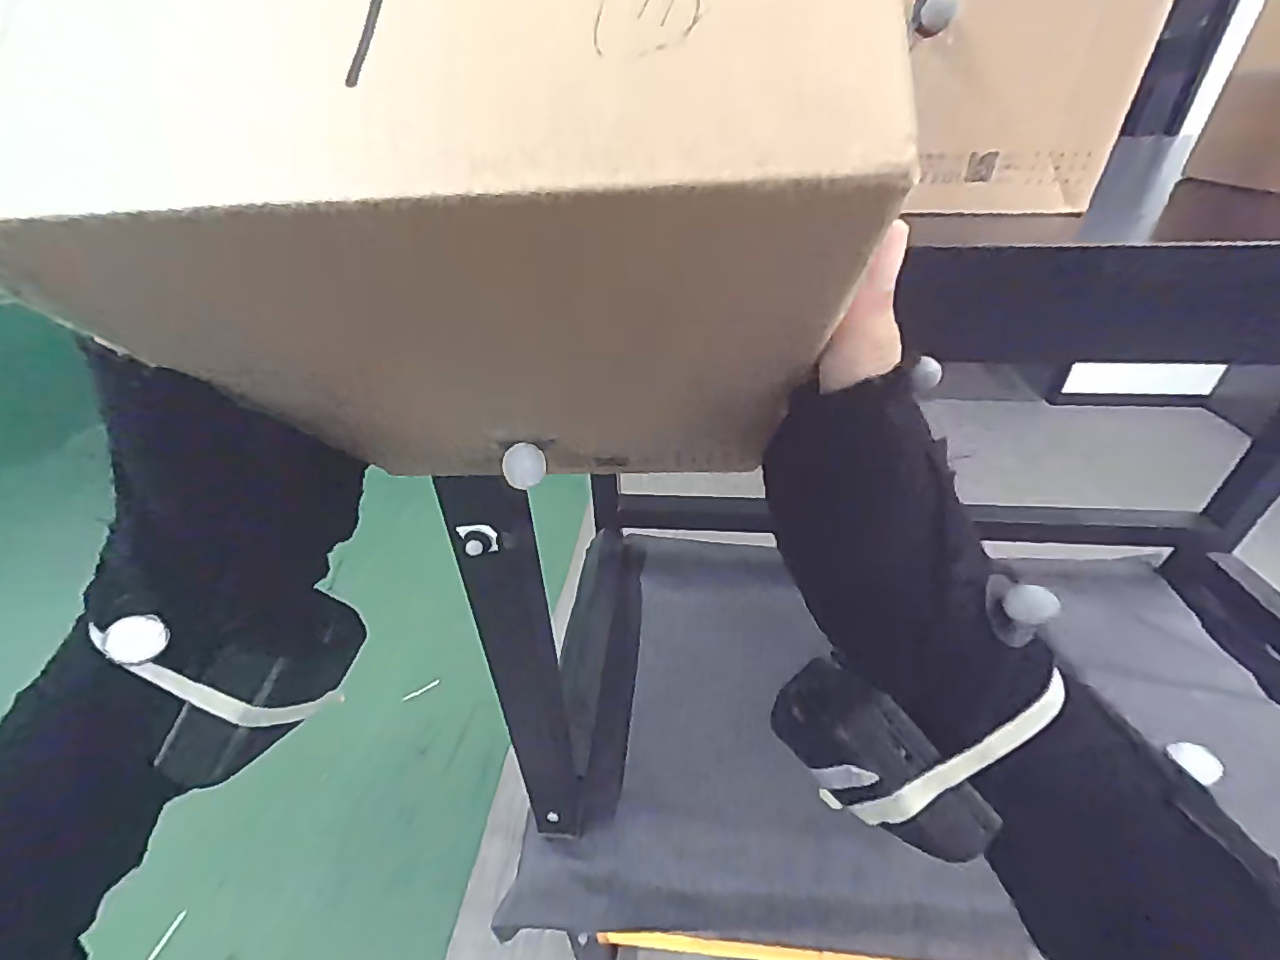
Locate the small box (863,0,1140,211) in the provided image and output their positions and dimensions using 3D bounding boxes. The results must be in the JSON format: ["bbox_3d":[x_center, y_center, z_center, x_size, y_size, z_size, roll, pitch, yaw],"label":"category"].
[{"bbox_3d":[0.174,-0.270,0.336,0.168,0.176,0.179,4,34,8],"label":"small box"}]

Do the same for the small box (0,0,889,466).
[{"bbox_3d":[-0.037,-0.111,0.183,0.168,0.176,0.179,-1,77,4],"label":"small box"}]
